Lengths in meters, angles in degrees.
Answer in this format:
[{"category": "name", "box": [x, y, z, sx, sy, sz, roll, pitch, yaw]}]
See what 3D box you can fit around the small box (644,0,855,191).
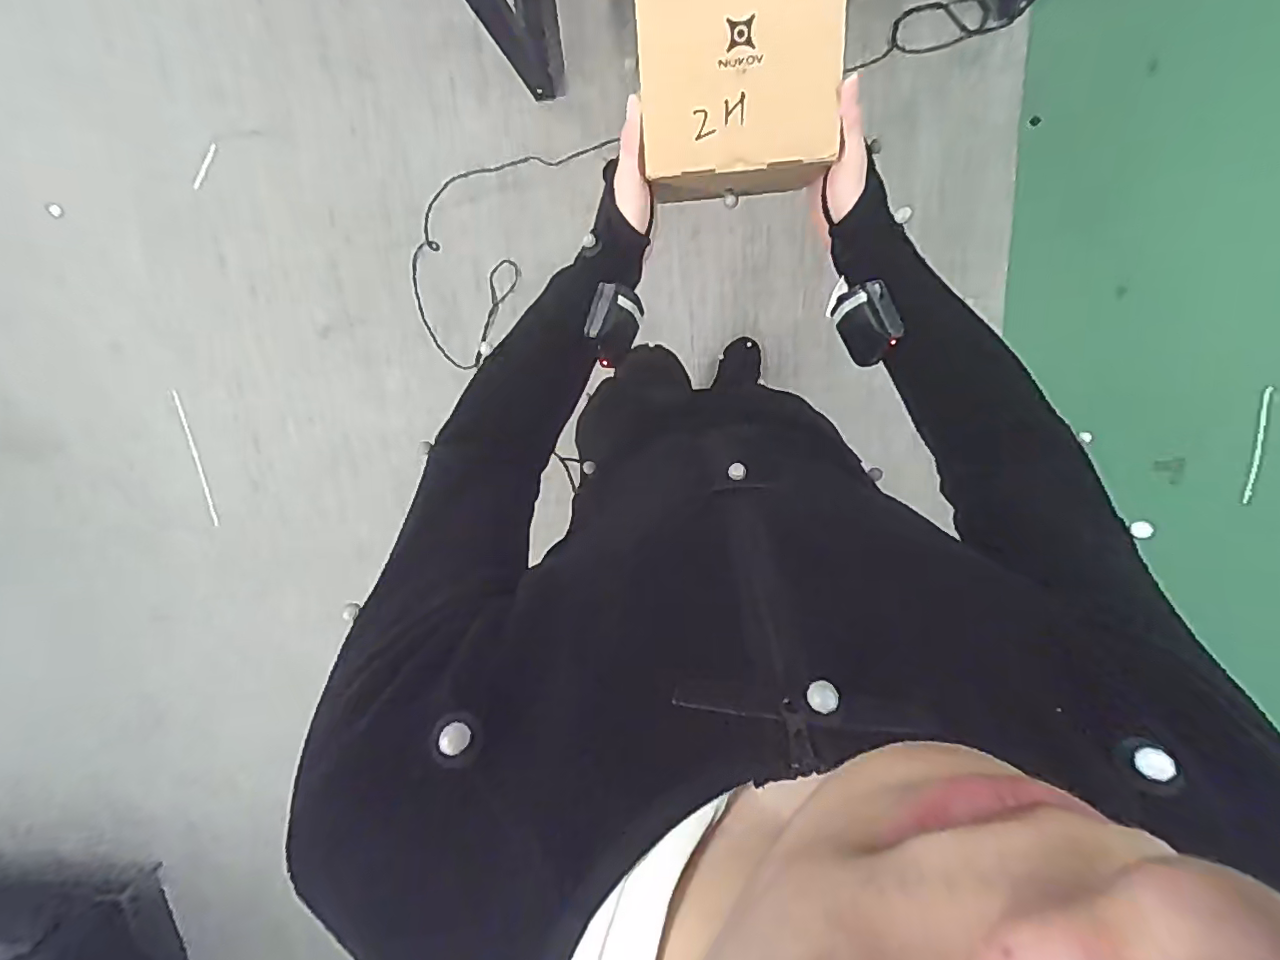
[{"category": "small box", "box": [0.090, -0.383, 0.499, 0.168, 0.176, 0.179, -2, 110, 6]}]
